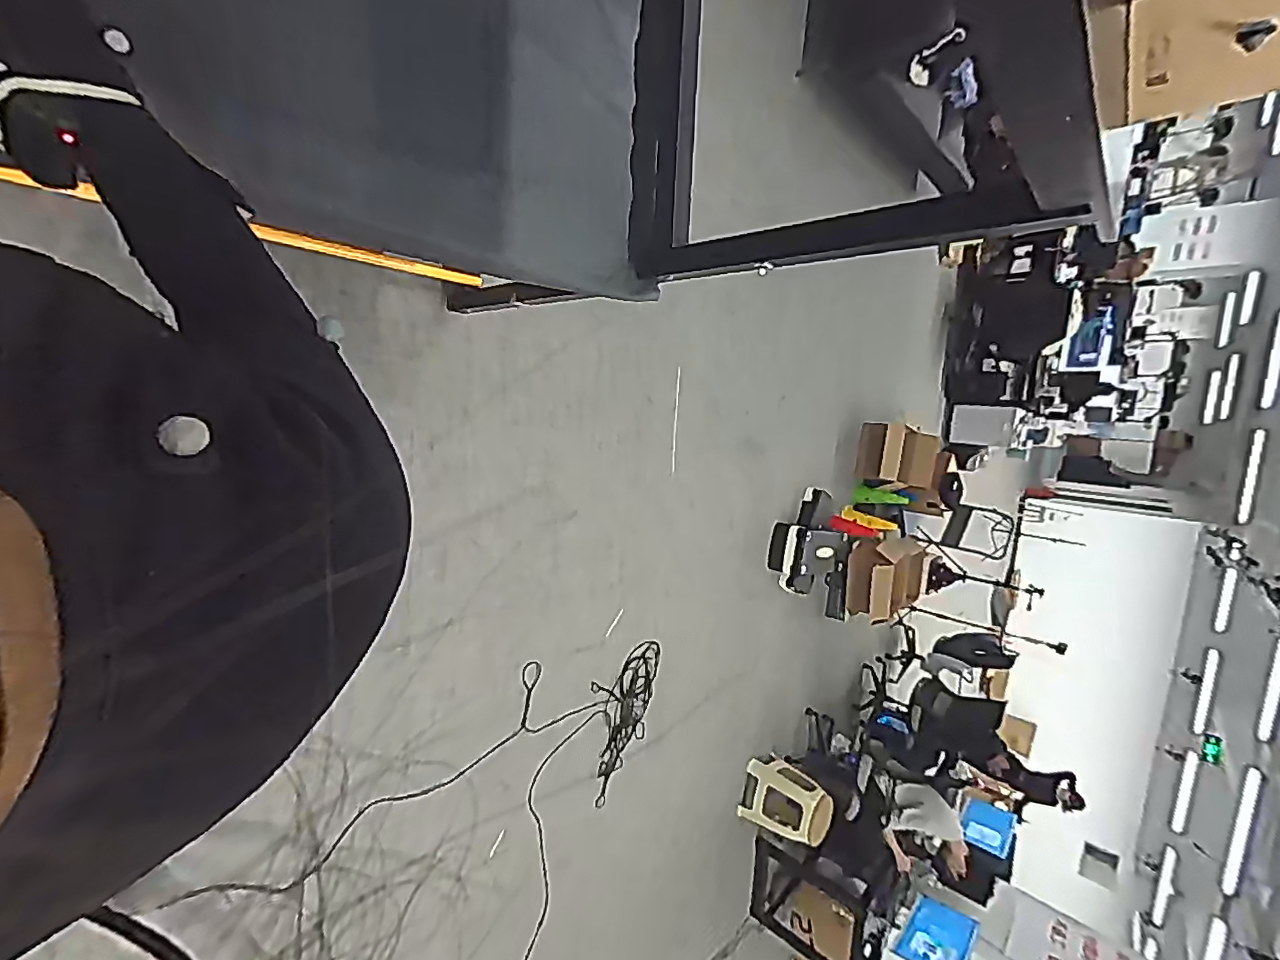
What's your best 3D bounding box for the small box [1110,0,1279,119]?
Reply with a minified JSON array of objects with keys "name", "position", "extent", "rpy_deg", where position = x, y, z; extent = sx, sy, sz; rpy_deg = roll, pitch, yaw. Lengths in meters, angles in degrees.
[{"name":"small box","position":[0.512,-0.445,0.446],"extent":[0.168,0.176,0.179],"rpy_deg":[11,90,-49]}]
